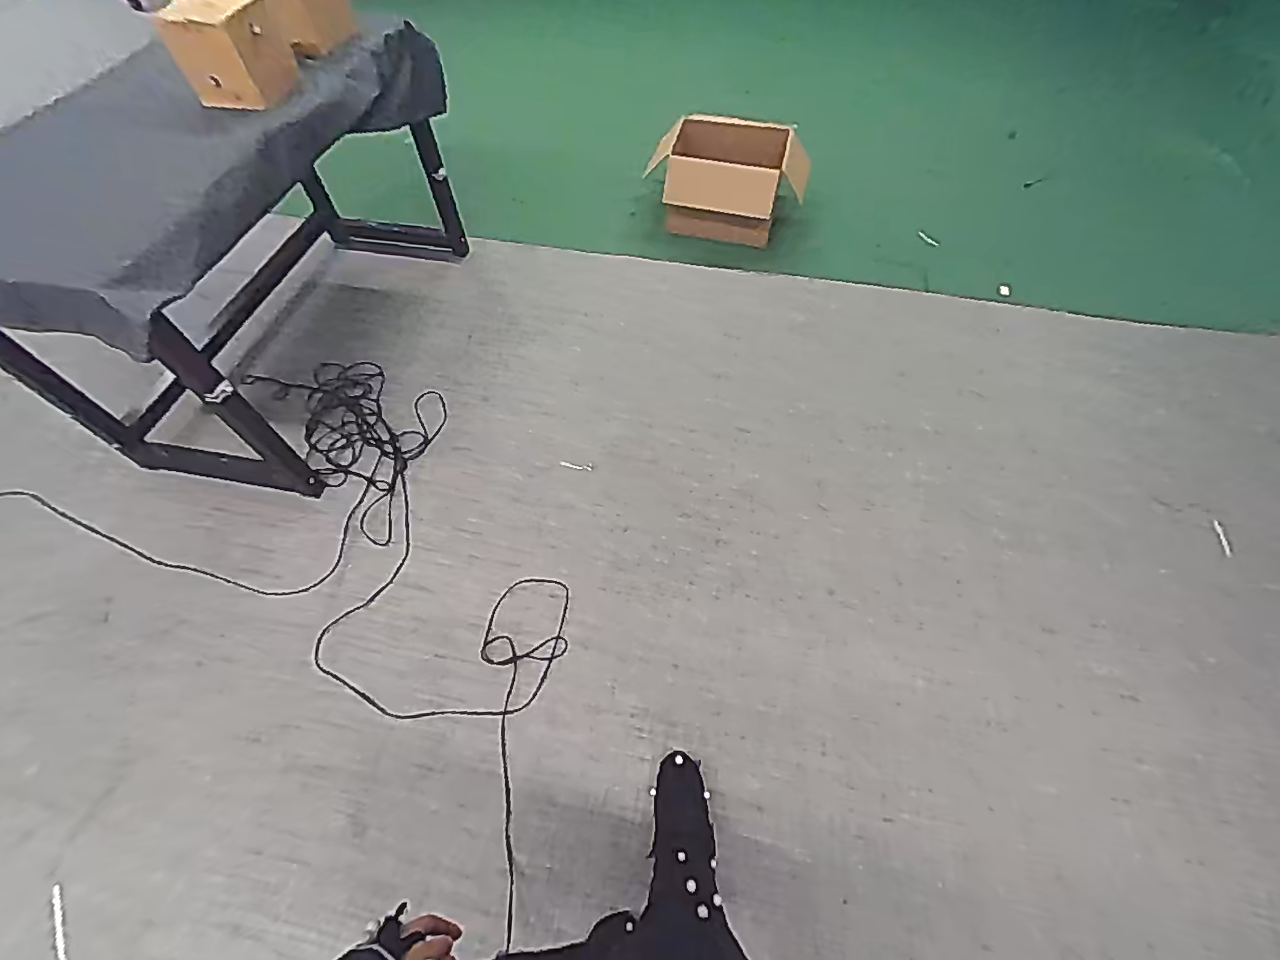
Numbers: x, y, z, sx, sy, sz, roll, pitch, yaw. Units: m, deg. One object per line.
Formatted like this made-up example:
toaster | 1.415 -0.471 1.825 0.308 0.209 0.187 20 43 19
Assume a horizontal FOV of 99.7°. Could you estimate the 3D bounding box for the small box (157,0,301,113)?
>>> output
small box | -0.919 -0.977 1.236 0.168 0.176 0.179 7 59 5
